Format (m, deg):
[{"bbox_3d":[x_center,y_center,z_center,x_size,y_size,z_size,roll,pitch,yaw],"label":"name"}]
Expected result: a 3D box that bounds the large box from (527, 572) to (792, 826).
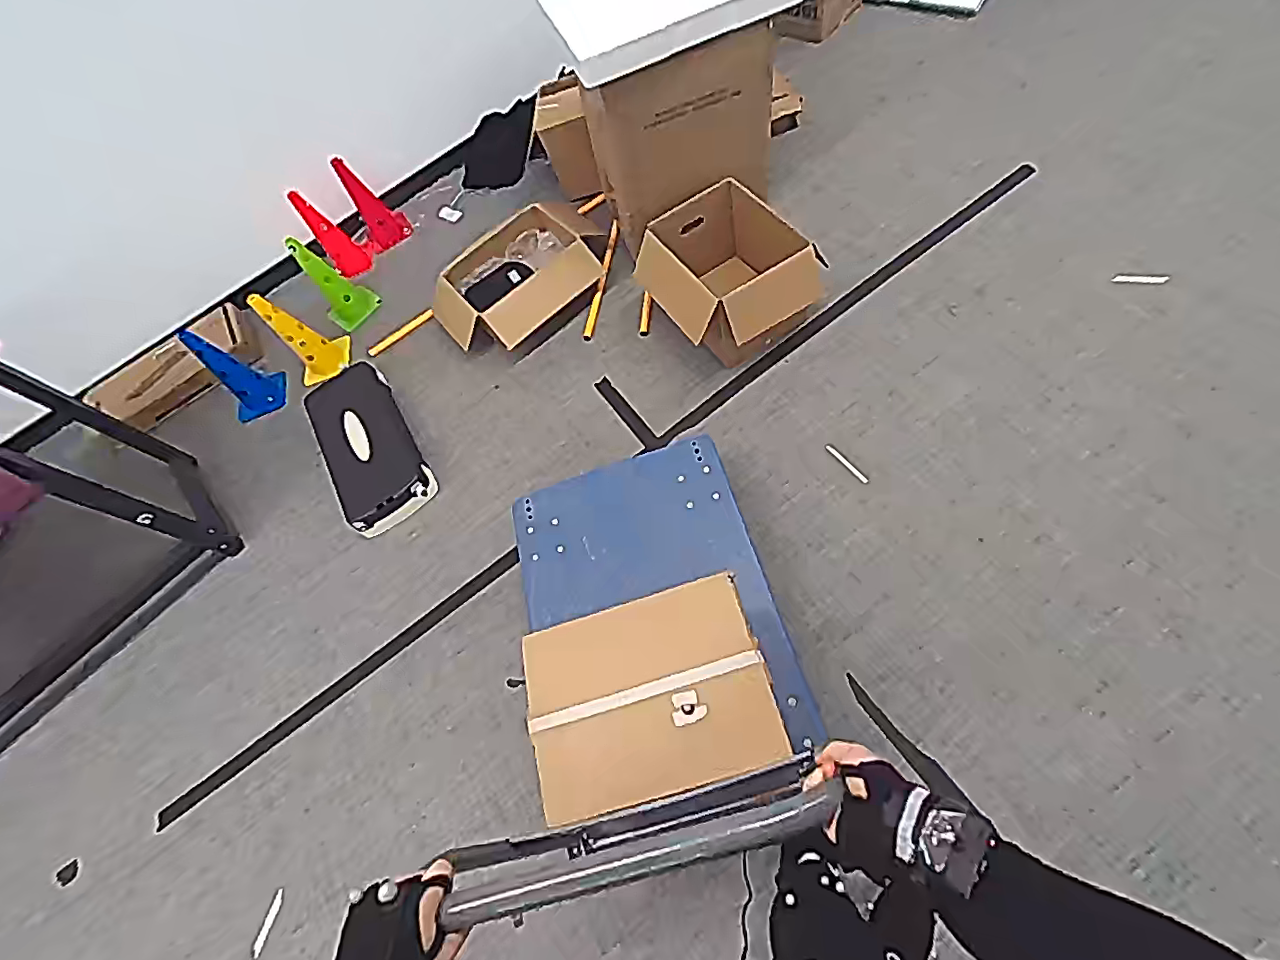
[{"bbox_3d":[0.044,0.426,1.044,0.408,0.320,0.320,-19,61,4],"label":"large box"}]
